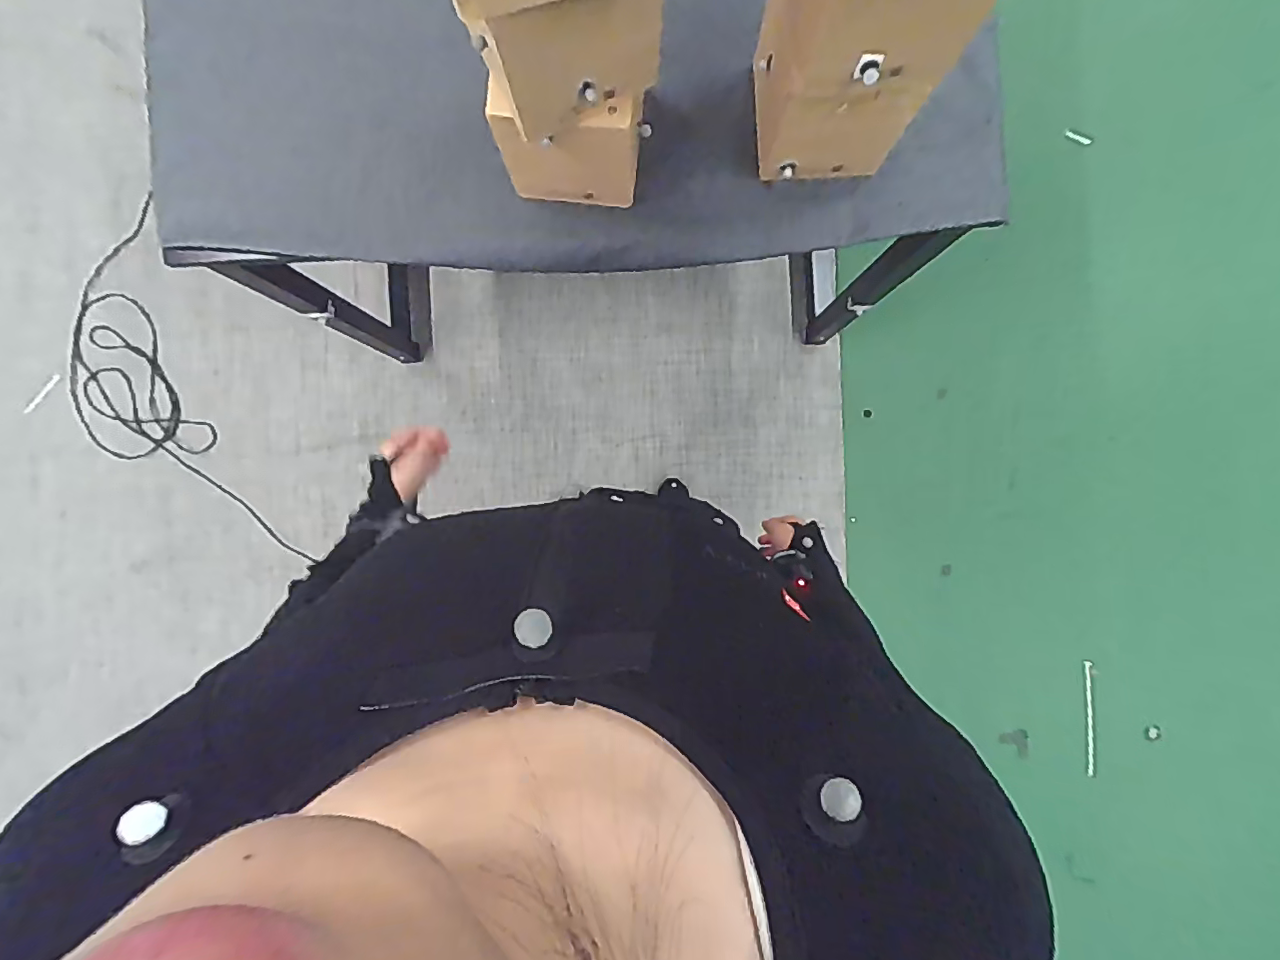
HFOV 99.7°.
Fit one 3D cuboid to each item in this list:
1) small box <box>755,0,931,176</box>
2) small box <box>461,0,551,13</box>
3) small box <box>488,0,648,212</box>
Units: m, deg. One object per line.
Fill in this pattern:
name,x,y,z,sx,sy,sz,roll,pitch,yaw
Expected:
small box,0.245,-0.512,0.687,0.168,0.176,0.179,-2,87,1
small box,-0.084,-0.466,0.361,0.168,0.176,0.179,-15,89,0
small box,-0.082,-0.477,0.689,0.168,0.176,0.179,6,88,0
